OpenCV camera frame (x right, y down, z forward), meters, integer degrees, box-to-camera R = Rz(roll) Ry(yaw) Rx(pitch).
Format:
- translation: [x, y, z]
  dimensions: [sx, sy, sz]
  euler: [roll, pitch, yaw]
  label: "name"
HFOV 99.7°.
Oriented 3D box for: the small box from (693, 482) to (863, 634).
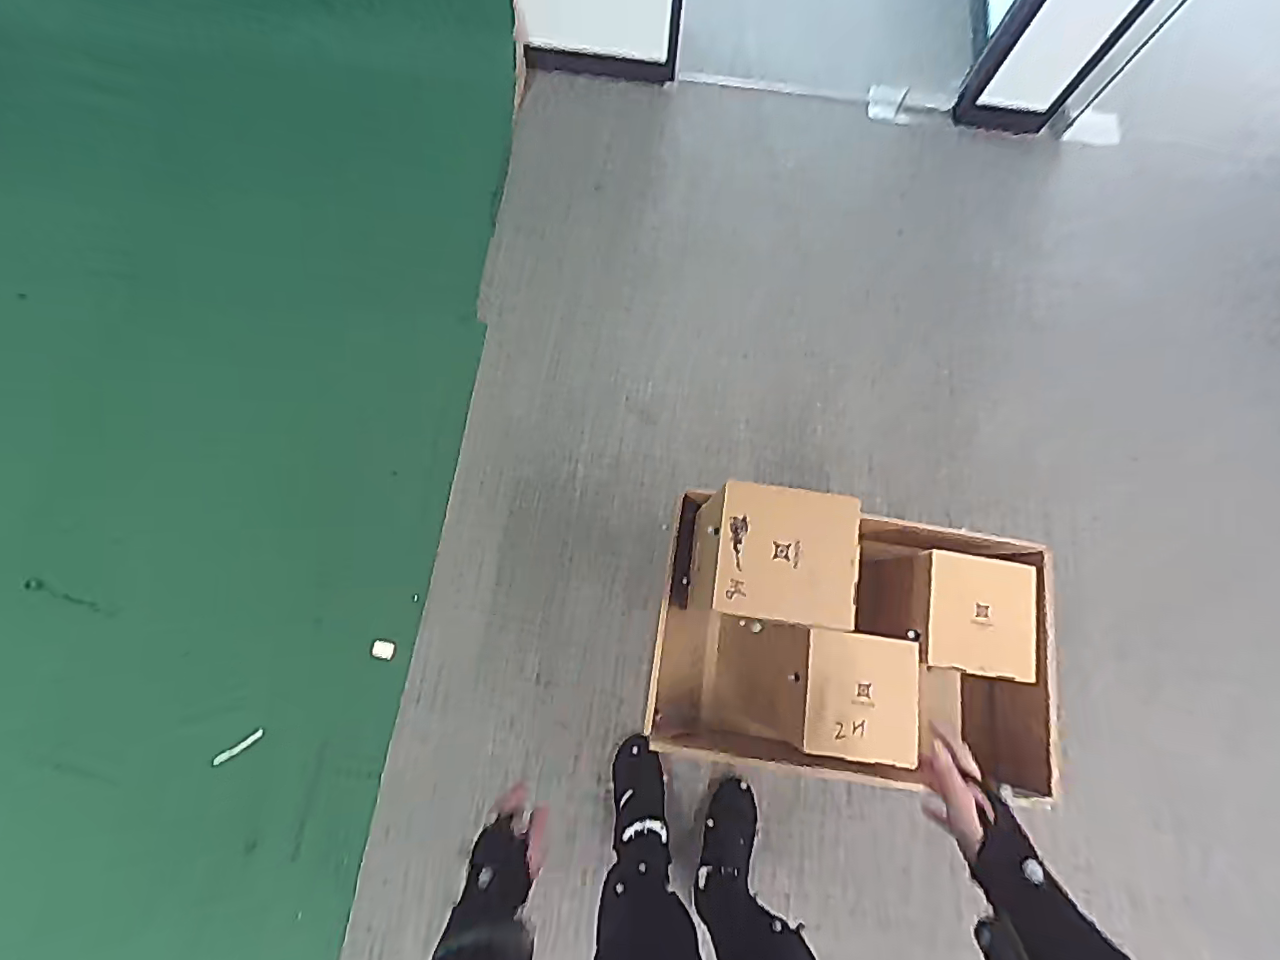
- translation: [0.180, 0.111, 0.742]
  dimensions: [0.179, 0.176, 0.168]
  euler: [9, 76, -1]
  label: "small box"
